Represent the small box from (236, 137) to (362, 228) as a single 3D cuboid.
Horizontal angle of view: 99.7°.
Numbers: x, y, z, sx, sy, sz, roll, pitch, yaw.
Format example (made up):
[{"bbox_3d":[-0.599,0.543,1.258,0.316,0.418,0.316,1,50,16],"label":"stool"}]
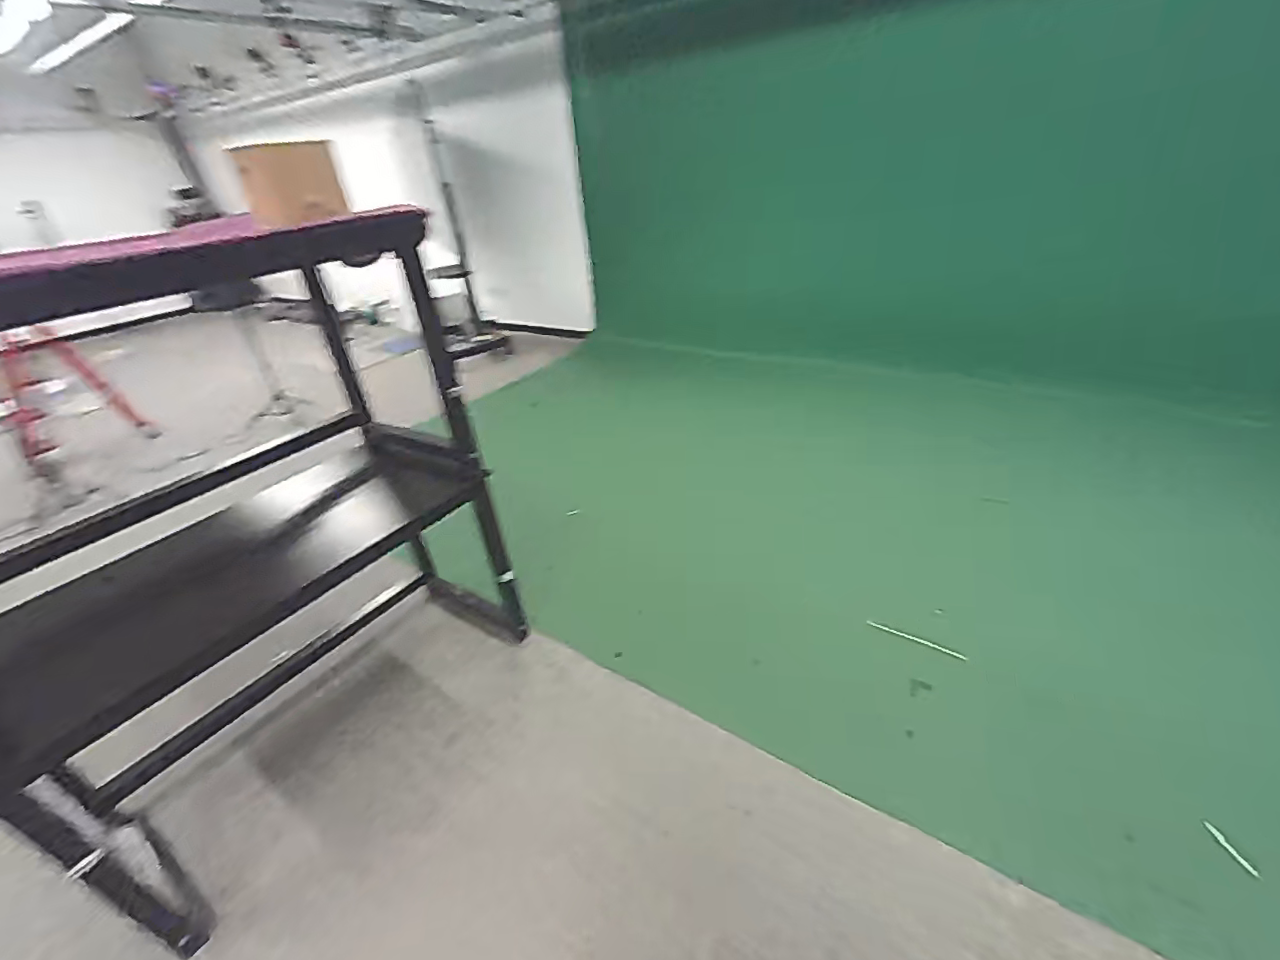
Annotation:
[{"bbox_3d":[-0.783,-0.685,1.251,0.179,0.176,0.168,20,41,35],"label":"small box"}]
